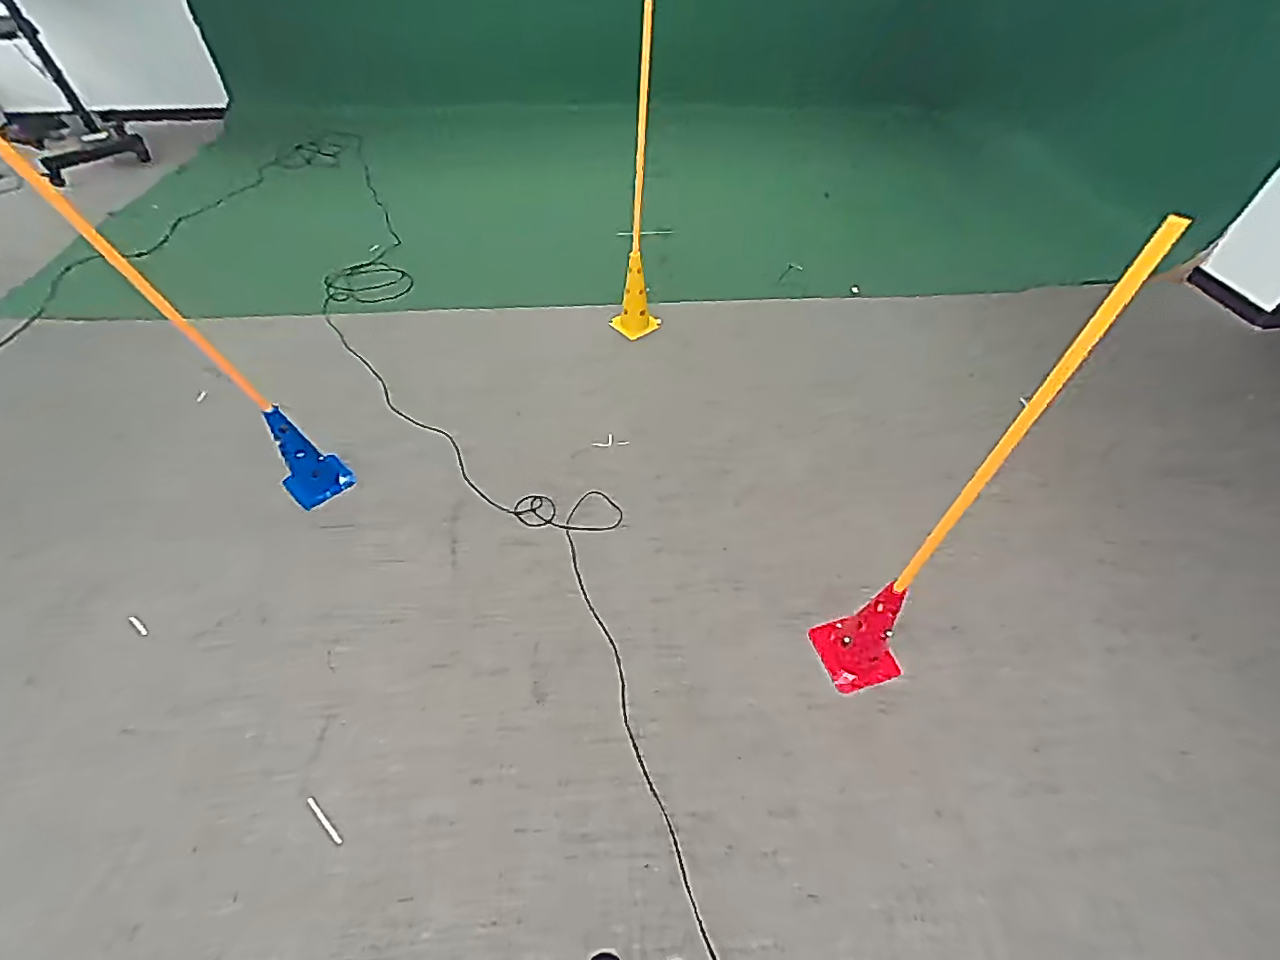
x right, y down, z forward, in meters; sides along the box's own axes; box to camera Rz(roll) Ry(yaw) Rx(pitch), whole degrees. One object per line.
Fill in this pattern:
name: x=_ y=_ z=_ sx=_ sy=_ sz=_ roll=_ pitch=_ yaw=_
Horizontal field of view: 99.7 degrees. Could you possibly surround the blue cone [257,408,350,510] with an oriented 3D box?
blue cone: x=-1.162 y=-0.090 z=1.814 sx=0.192 sy=0.380 sz=0.193 roll=34 pitch=60 yaw=25
